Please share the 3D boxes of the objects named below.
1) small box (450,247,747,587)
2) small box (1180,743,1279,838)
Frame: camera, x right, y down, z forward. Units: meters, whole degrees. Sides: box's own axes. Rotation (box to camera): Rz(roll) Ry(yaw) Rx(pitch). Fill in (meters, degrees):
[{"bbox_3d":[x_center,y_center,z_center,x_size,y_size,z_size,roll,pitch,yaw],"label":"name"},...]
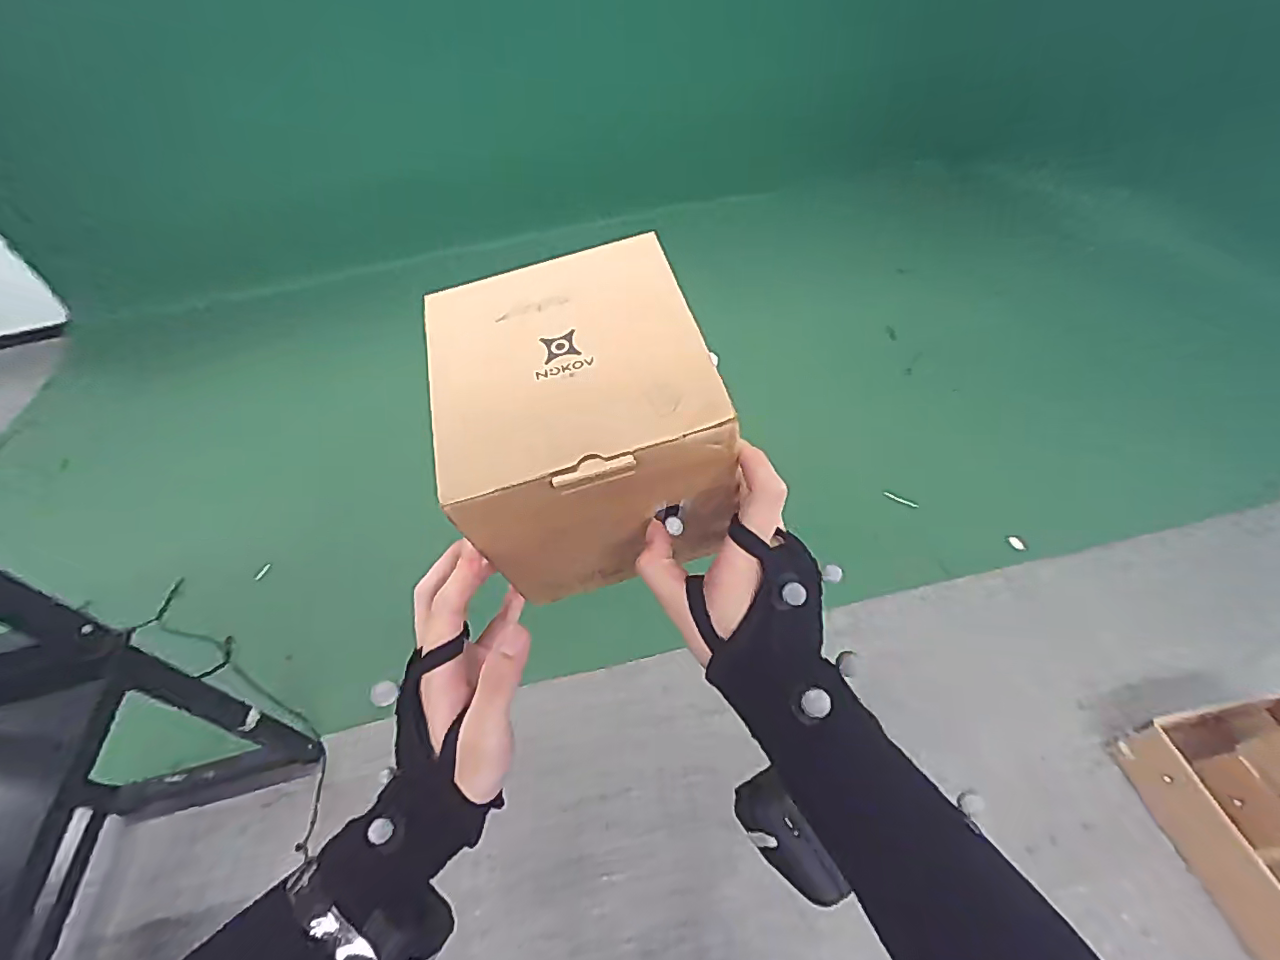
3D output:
[{"bbox_3d":[-0.026,-0.034,0.407,0.168,0.176,0.179,-15,58,-2],"label":"small box"},{"bbox_3d":[1.382,0.680,1.209,0.179,0.176,0.168,-13,50,-3],"label":"small box"}]
